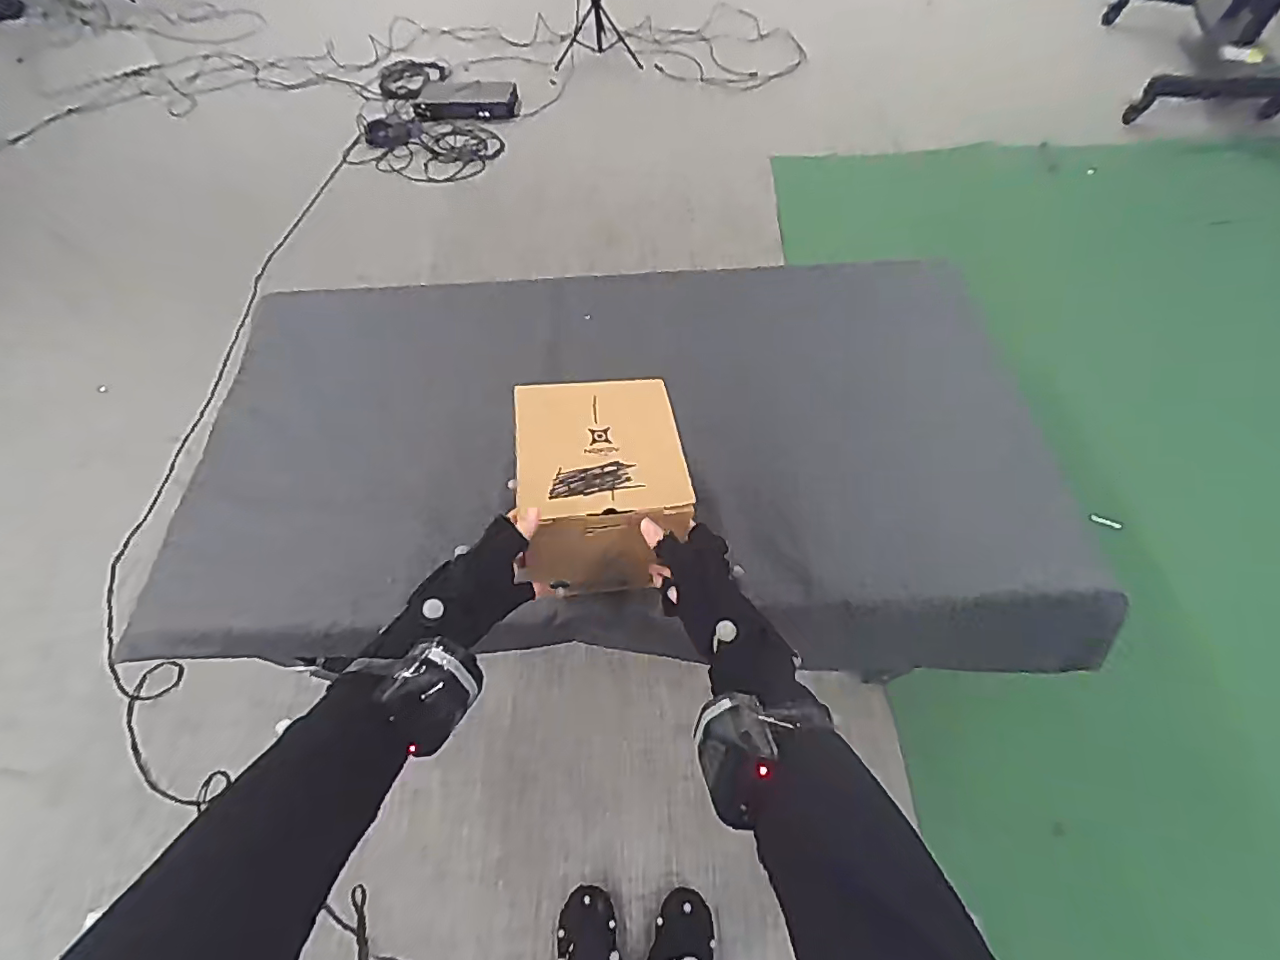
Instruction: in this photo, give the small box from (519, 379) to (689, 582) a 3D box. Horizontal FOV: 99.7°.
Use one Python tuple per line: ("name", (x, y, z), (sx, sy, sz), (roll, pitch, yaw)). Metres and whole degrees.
("small box", (-0.046, 0.008, 0.626), (0.168, 0.176, 0.179), (-5, 55, -8))
